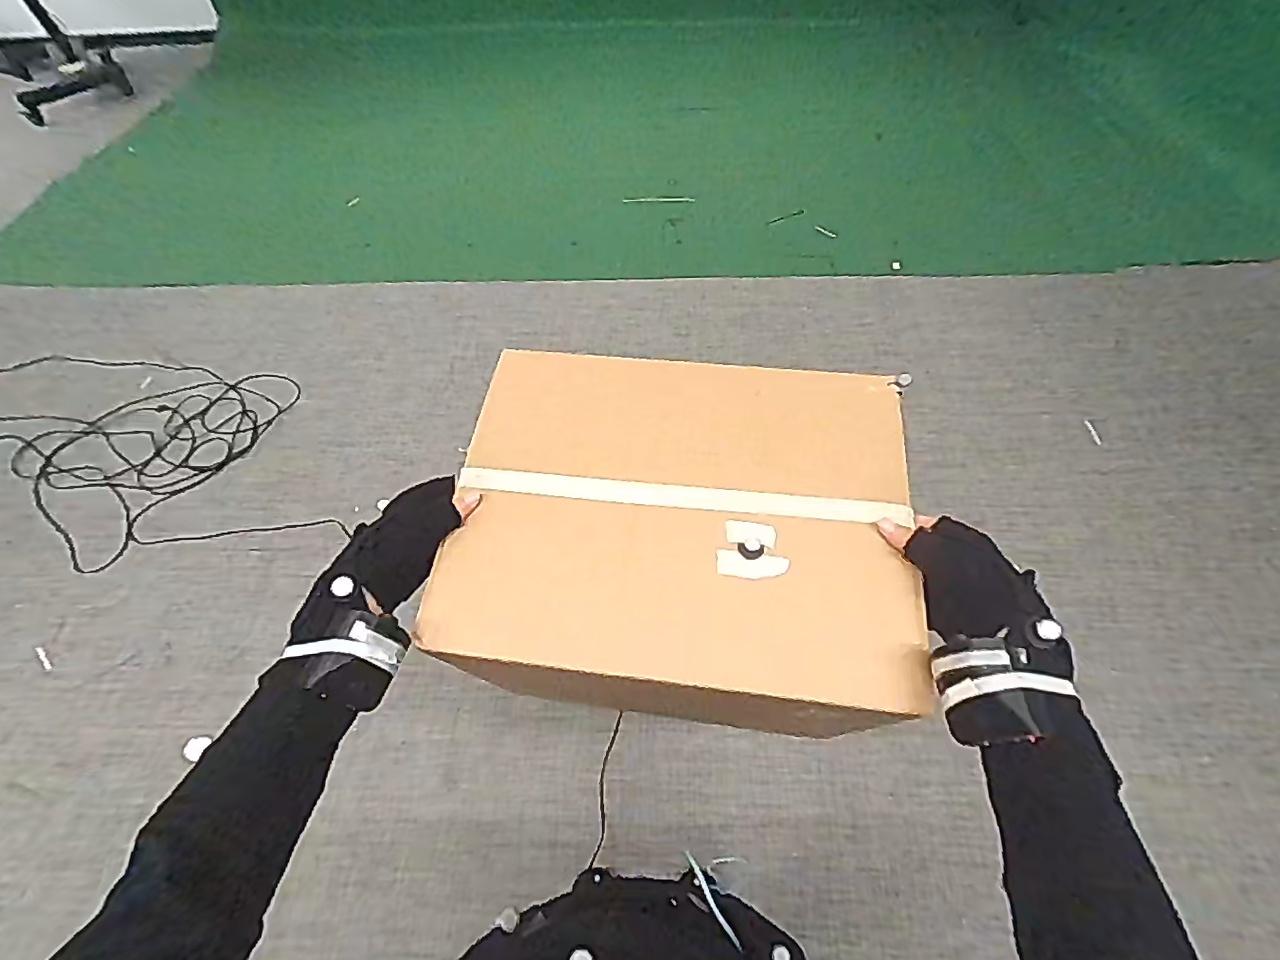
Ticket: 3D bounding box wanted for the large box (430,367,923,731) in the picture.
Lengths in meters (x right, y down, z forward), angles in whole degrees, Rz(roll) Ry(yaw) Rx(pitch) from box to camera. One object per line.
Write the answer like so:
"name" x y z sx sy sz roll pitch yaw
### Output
"large box" 0.042 0.093 0.629 0.408 0.320 0.320 5 62 6
